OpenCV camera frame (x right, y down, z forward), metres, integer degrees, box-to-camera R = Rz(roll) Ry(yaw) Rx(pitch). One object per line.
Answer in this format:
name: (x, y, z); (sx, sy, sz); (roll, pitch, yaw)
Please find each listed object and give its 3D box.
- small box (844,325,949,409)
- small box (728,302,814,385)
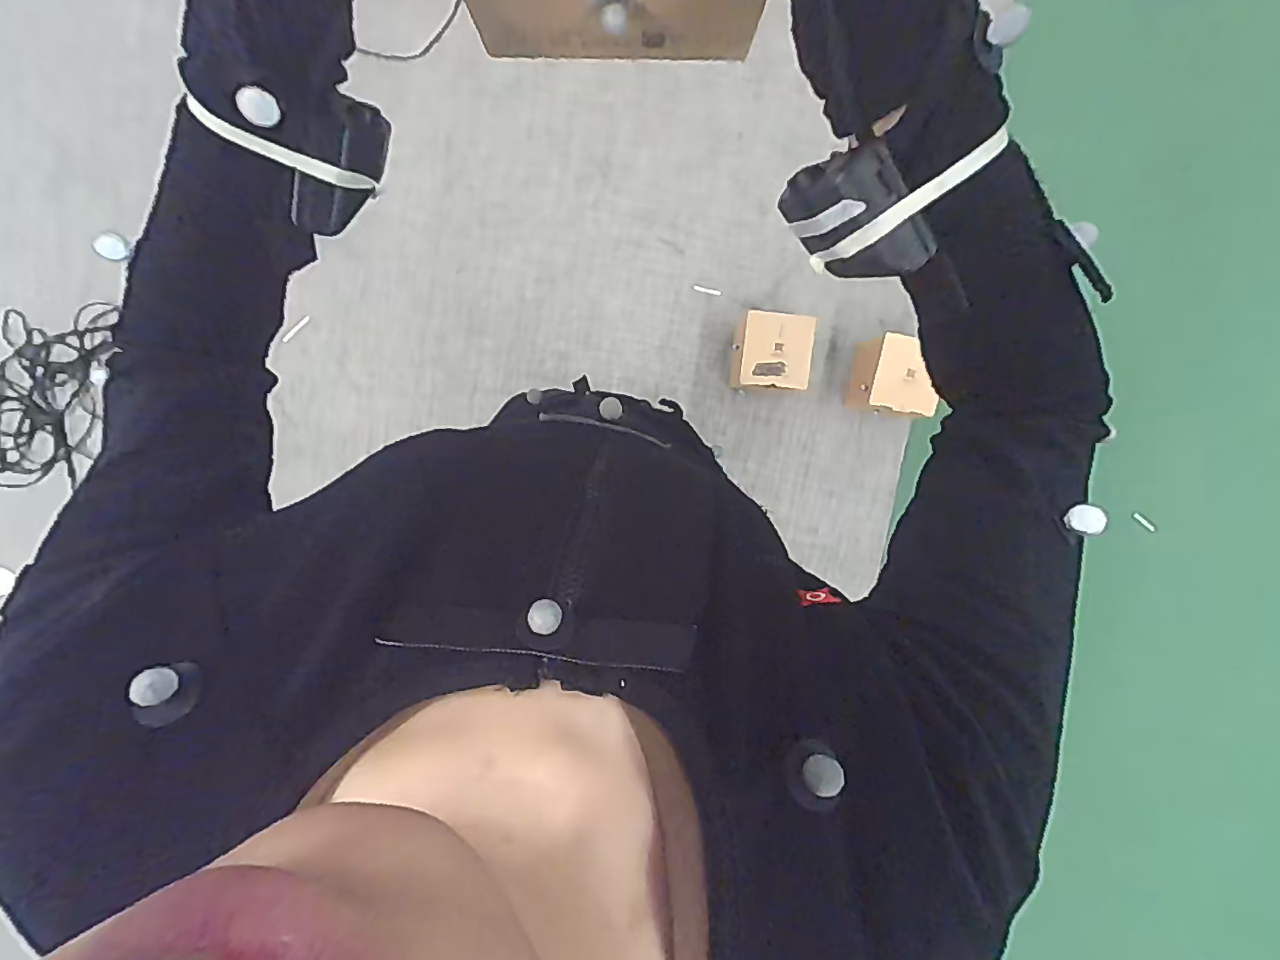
small box: (0.640, -0.280, 1.372); (0.168, 0.176, 0.179); (11, 97, -1)
small box: (0.321, -0.335, 1.361); (0.168, 0.176, 0.179); (5, 97, -2)
